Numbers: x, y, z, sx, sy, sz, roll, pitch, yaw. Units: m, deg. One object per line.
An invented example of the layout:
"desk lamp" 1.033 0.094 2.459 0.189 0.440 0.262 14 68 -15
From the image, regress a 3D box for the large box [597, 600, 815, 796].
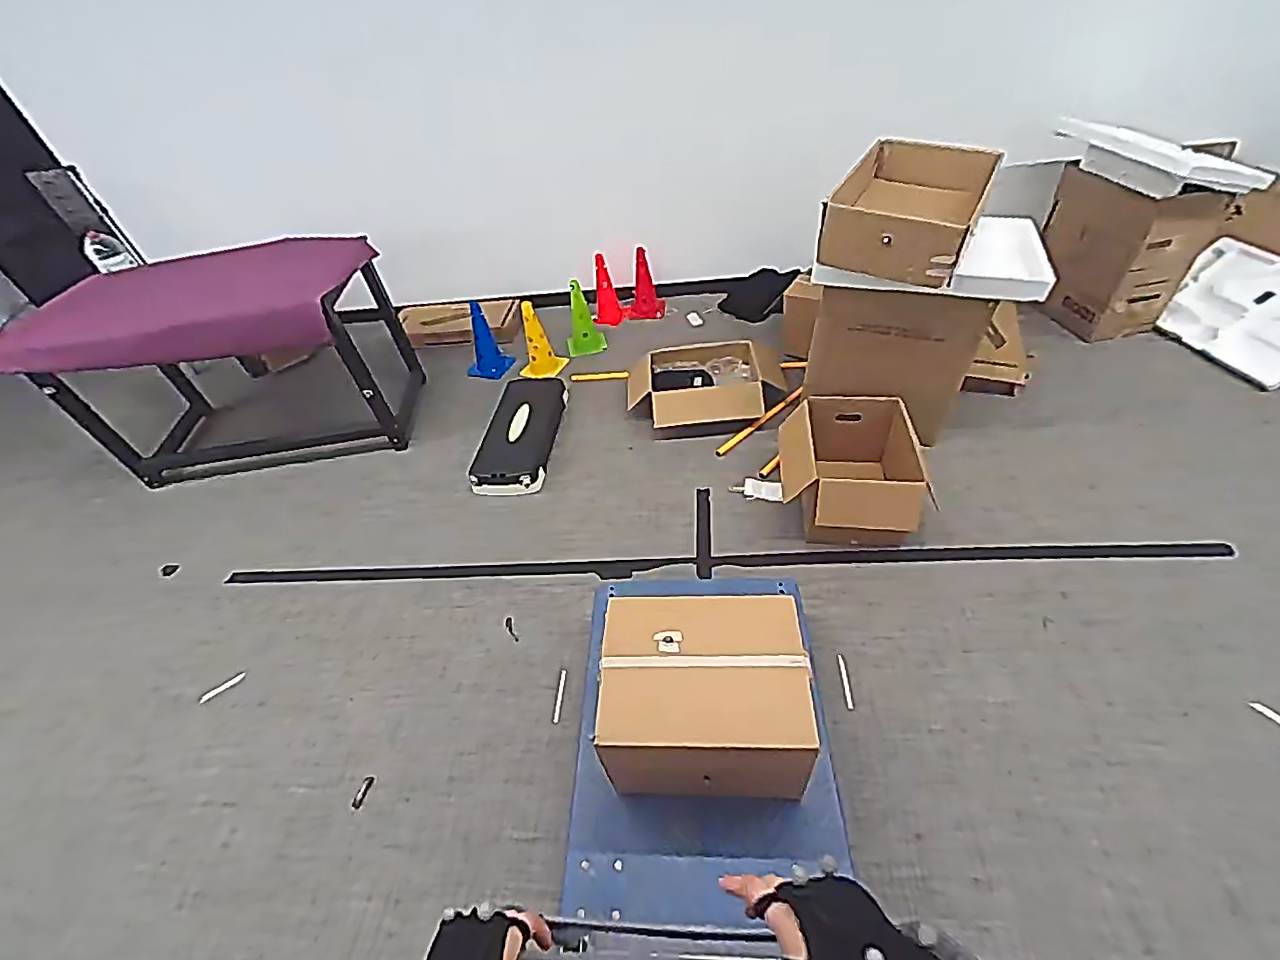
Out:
"large box" 0.141 0.485 1.191 0.408 0.320 0.320 -3 44 7
